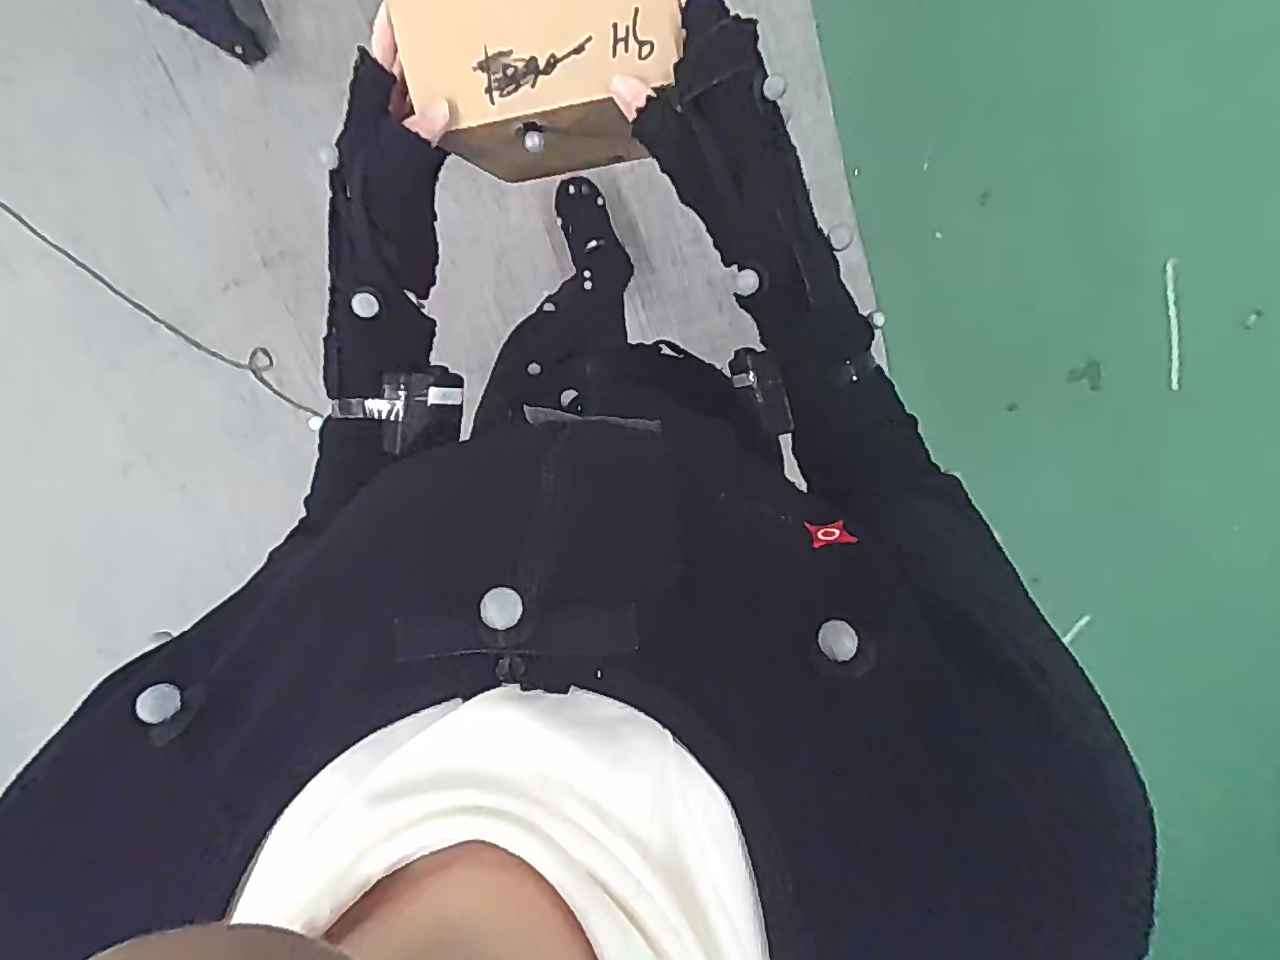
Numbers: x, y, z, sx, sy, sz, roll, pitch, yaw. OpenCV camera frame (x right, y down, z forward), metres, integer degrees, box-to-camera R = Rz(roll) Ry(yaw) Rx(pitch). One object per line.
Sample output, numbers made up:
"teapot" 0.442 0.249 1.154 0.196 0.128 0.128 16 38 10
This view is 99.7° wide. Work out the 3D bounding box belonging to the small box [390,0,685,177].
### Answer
"small box" -0.060 -0.333 0.369 0.168 0.176 0.179 -6 108 8
